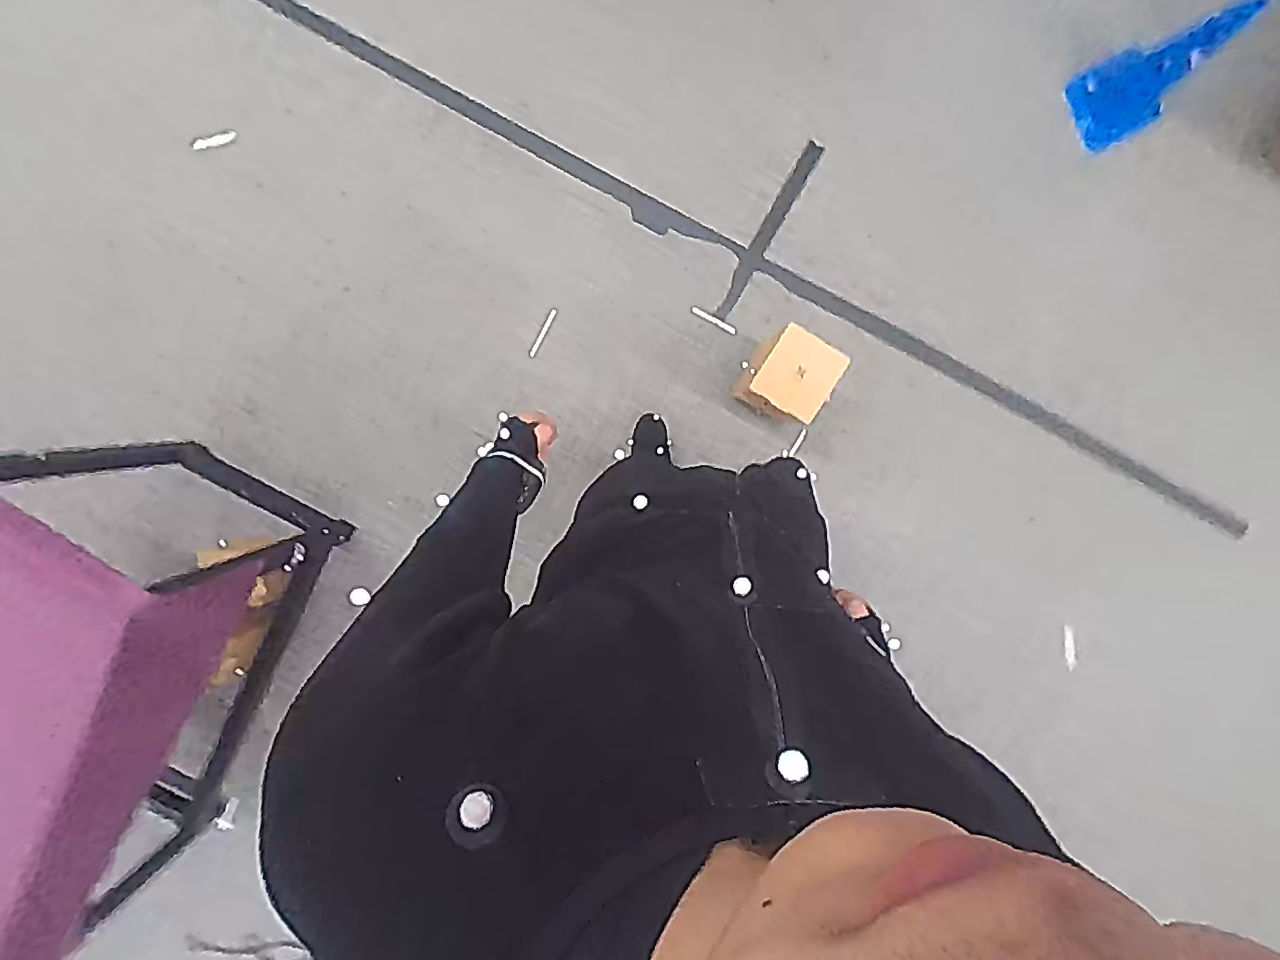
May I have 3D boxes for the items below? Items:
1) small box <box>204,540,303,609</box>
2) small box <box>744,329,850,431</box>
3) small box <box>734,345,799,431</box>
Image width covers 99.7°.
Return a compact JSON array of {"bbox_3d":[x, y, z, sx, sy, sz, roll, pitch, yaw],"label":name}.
[{"bbox_3d":[-1.167,0.283,1.643,0.179,0.176,0.168,1,98,4],"label":"small box"},{"bbox_3d":[0.369,-0.239,1.312,0.168,0.176,0.179,31,99,-2],"label":"small box"},{"bbox_3d":[0.376,-0.249,1.475,0.179,0.176,0.168,27,99,0],"label":"small box"}]
